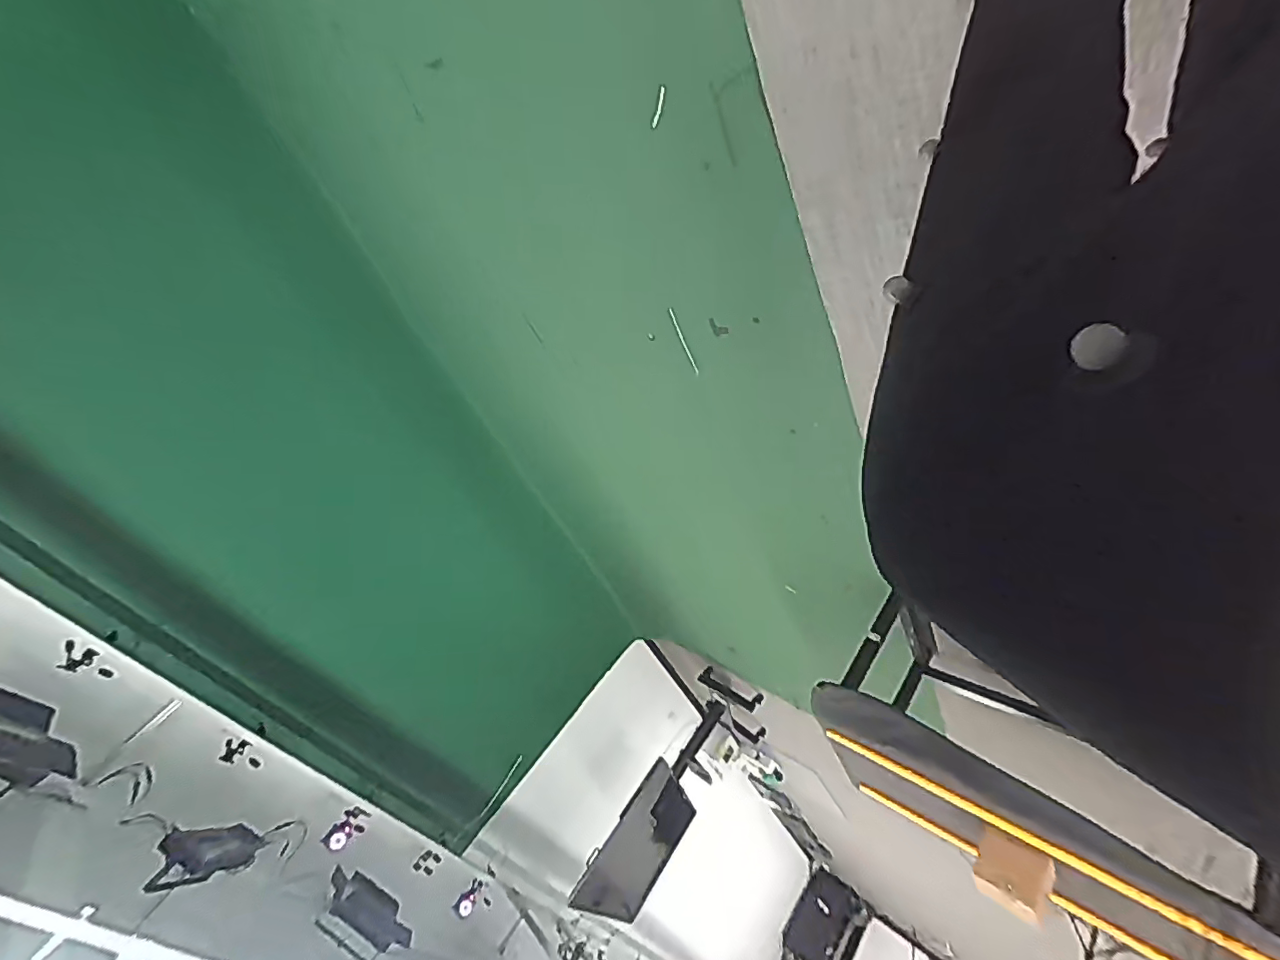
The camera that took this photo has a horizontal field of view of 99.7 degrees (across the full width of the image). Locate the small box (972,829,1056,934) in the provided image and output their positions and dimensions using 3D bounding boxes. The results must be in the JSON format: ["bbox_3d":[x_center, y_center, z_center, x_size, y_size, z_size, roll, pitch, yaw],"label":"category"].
[{"bbox_3d":[1.144,1.217,1.647,0.168,0.176,0.179,9,139,50],"label":"small box"}]
